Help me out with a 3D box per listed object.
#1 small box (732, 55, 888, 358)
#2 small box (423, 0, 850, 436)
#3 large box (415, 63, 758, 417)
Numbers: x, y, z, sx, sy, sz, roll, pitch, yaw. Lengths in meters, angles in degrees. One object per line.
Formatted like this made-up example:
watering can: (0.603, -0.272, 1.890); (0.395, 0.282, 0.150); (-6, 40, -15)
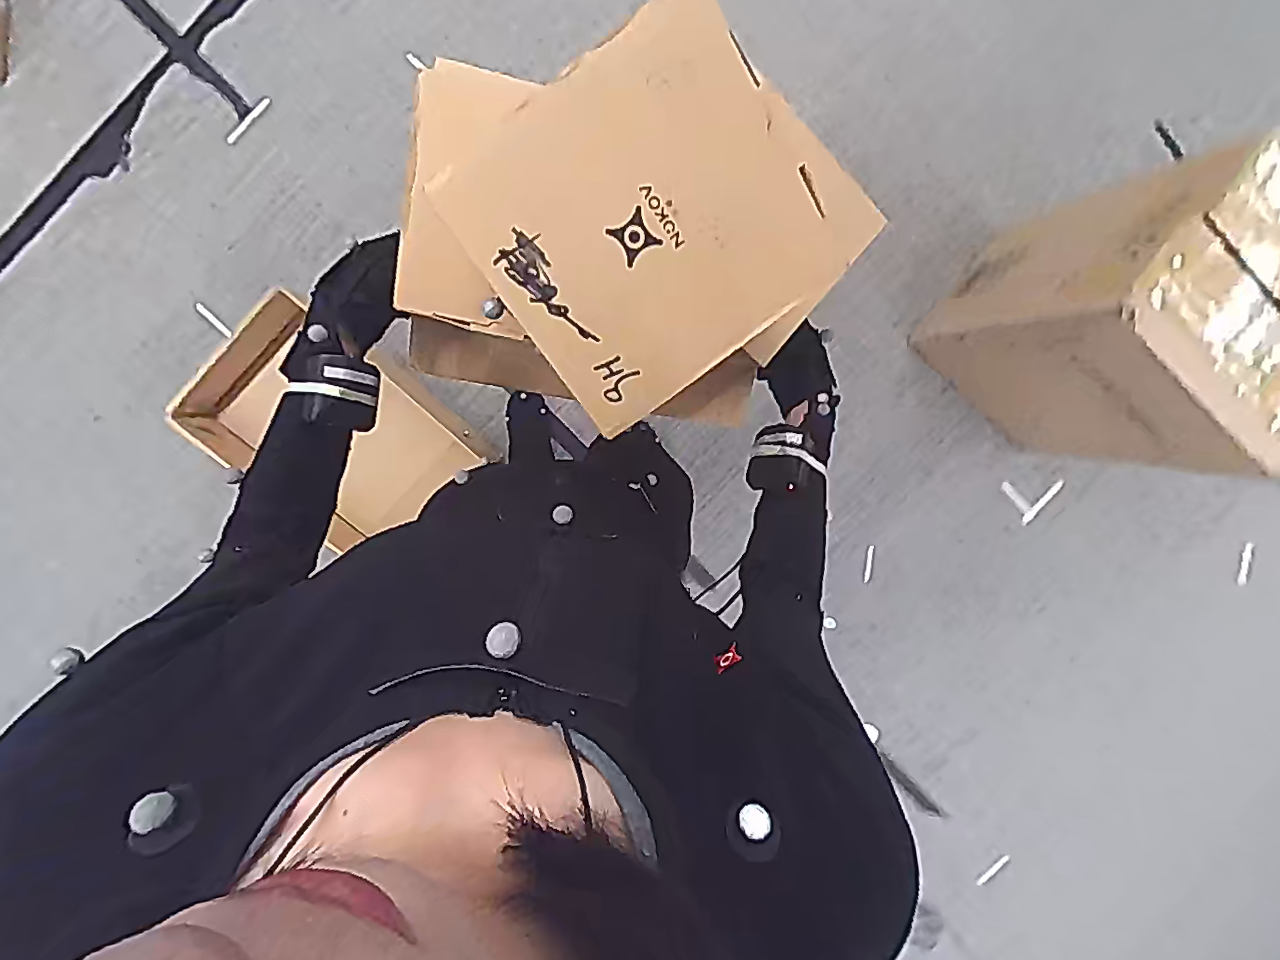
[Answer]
small box: (0.085, -0.236, 0.522); (0.179, 0.176, 0.168); (38, 96, -17)
small box: (-0.006, -0.158, 0.360); (0.179, 0.176, 0.168); (-36, 107, 4)
large box: (-0.060, -0.284, 0.745); (0.408, 0.320, 0.320); (7, 105, -11)
